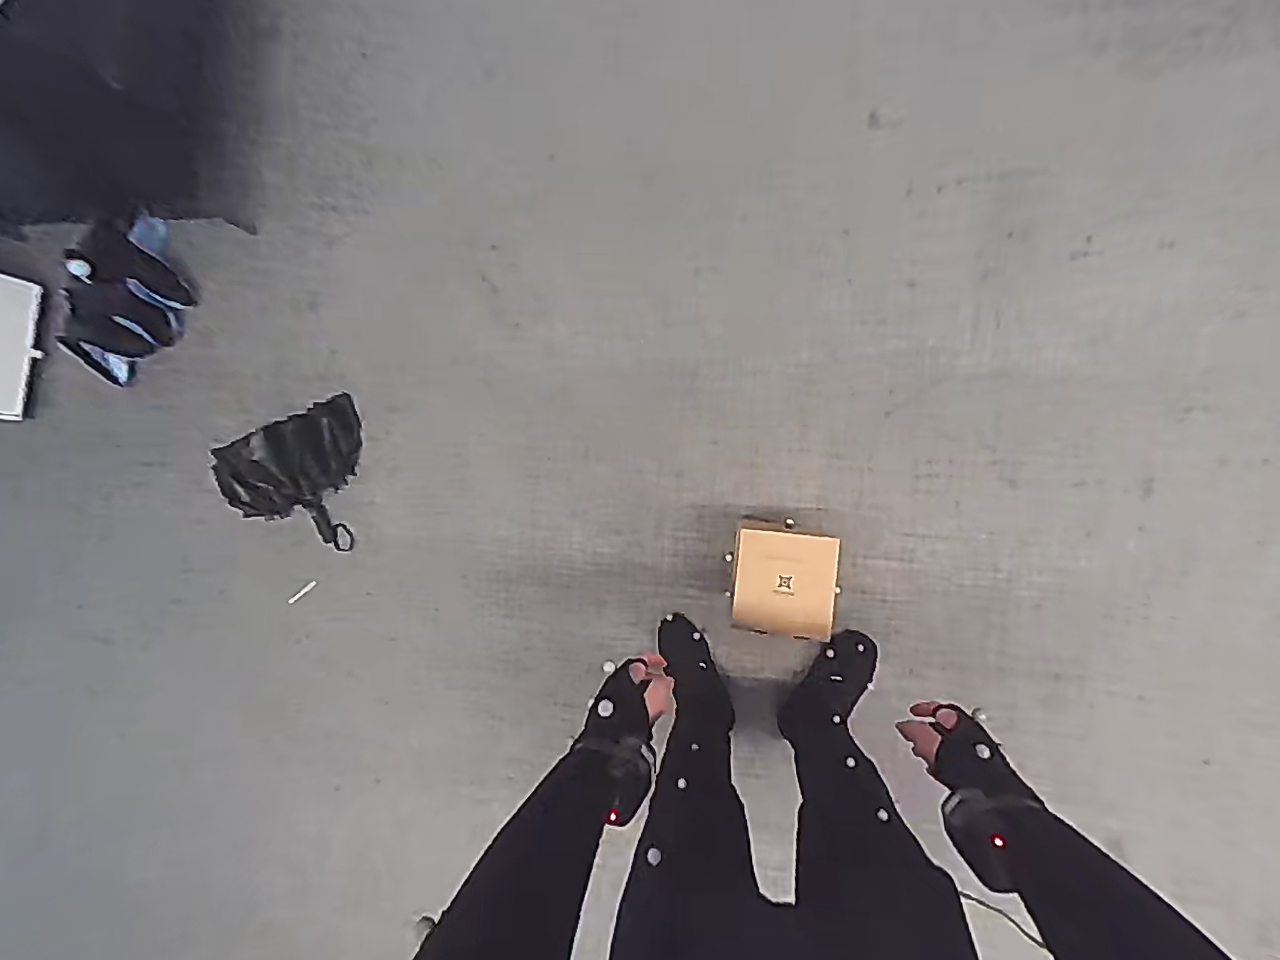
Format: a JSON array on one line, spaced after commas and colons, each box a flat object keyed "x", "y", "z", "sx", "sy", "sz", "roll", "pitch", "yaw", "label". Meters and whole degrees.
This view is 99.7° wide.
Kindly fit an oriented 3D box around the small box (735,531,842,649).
[{"x": 0.266, "y": 0.193, "z": 0.996, "sx": 0.168, "sy": 0.176, "sz": 0.179, "roll": 4, "pitch": 88, "yaw": 10, "label": "small box"}]

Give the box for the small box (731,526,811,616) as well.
[{"x": 0.290, "y": 0.199, "z": 1.157, "sx": 0.168, "sy": 0.176, "sz": 0.179, "roll": 6, "pitch": 90, "yaw": 11, "label": "small box"}]
